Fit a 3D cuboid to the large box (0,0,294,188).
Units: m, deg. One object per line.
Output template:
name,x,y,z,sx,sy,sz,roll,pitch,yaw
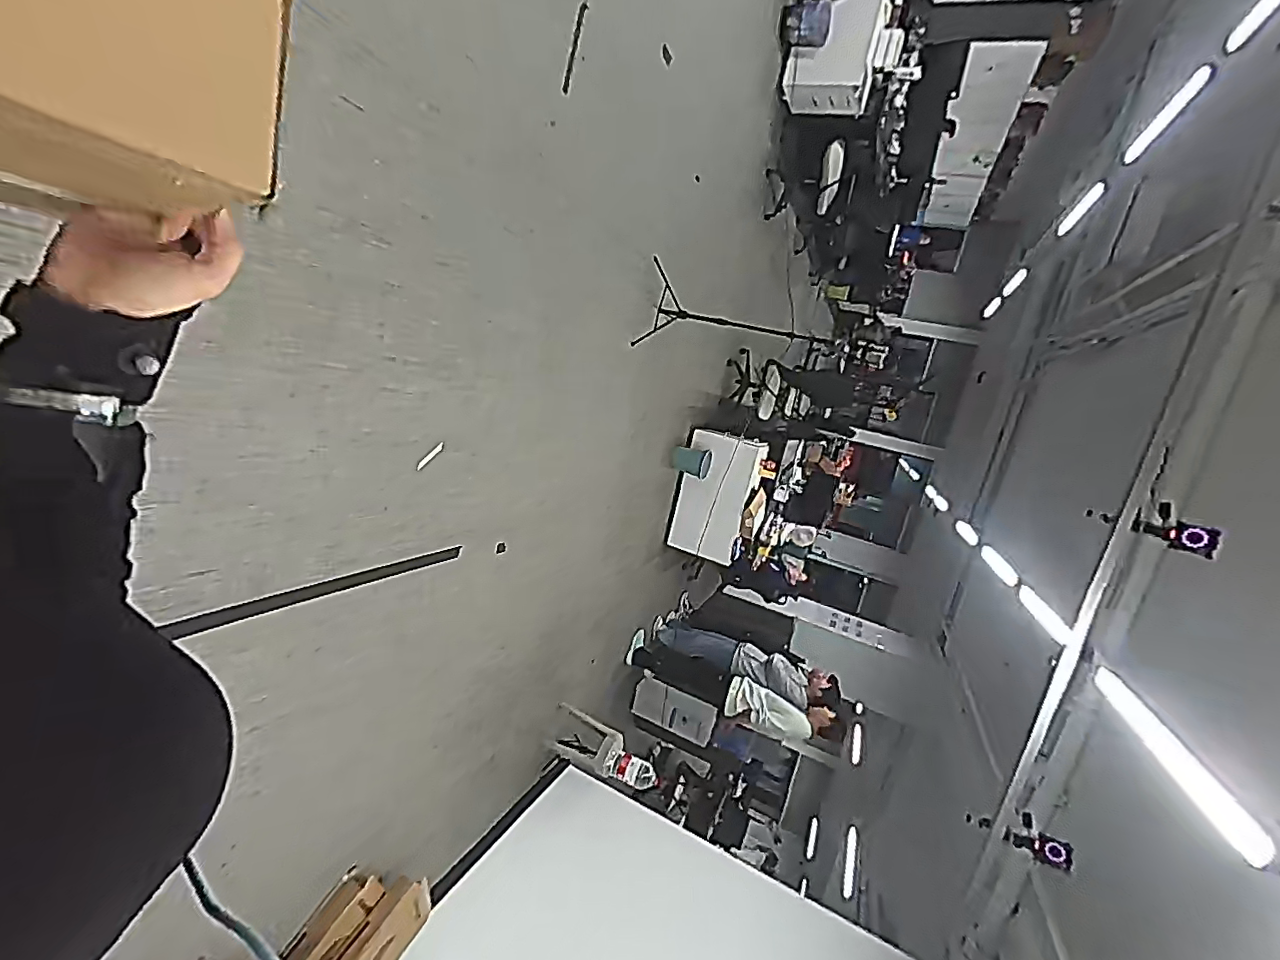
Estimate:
large box,-0.377,-0.327,0.143,0.408,0.320,0.320,-7,109,-61
